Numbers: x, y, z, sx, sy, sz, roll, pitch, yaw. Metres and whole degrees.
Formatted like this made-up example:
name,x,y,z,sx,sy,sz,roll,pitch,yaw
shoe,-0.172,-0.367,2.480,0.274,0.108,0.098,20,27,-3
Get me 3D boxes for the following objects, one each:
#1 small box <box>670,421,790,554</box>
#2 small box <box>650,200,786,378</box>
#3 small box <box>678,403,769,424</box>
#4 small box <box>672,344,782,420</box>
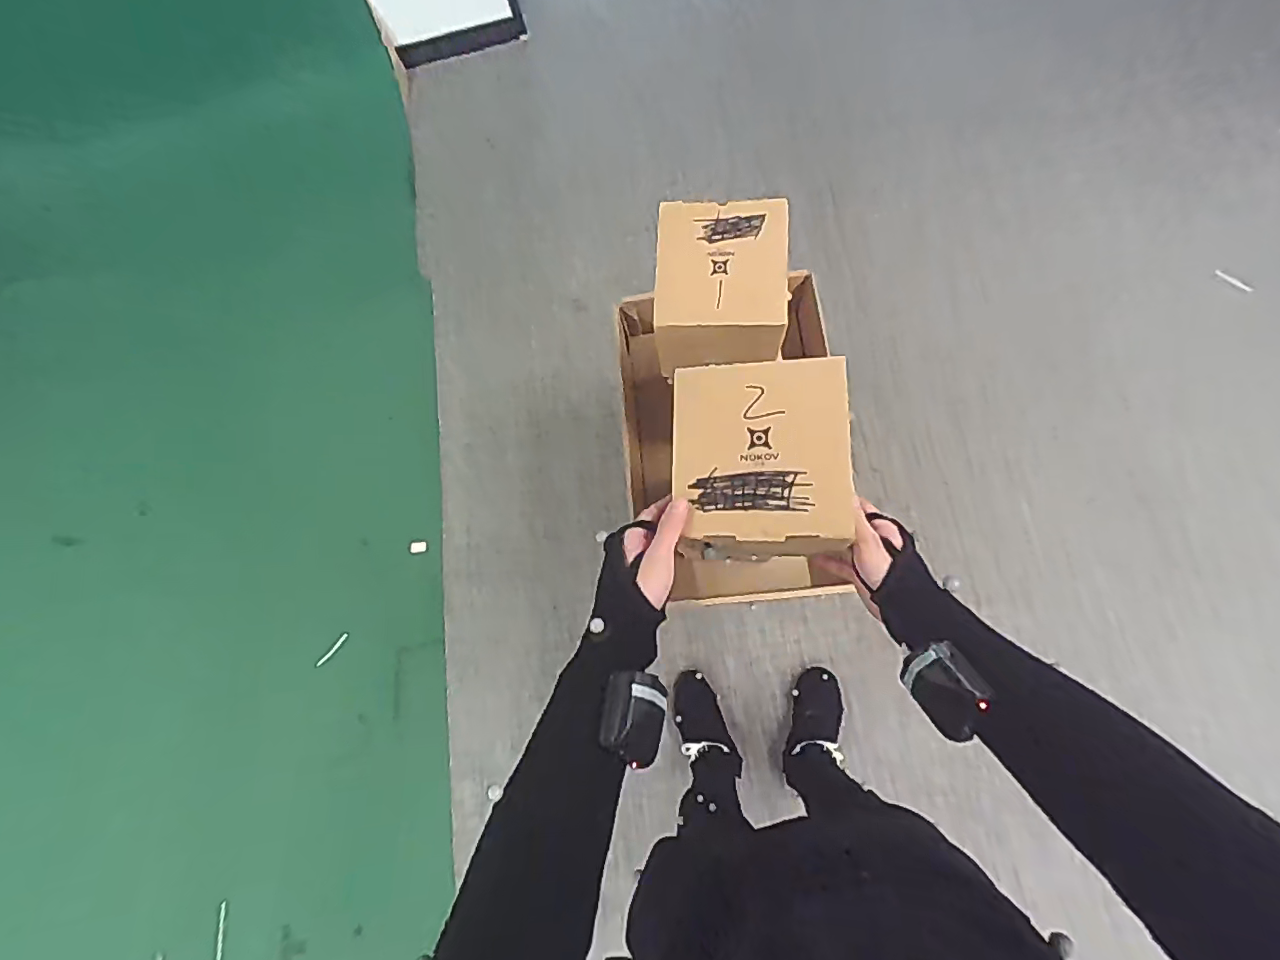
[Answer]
name,x,y,z,sx,sy,sz,roll,pitch,yaw
small box,0.140,0.019,0.850,0.168,0.176,0.179,2,75,7
small box,0.107,-0.258,0.756,0.168,0.176,0.179,2,79,8
small box,0.154,-0.185,1.071,0.168,0.176,0.179,-7,77,6
small box,0.133,-0.218,0.914,0.168,0.176,0.179,-8,77,5
